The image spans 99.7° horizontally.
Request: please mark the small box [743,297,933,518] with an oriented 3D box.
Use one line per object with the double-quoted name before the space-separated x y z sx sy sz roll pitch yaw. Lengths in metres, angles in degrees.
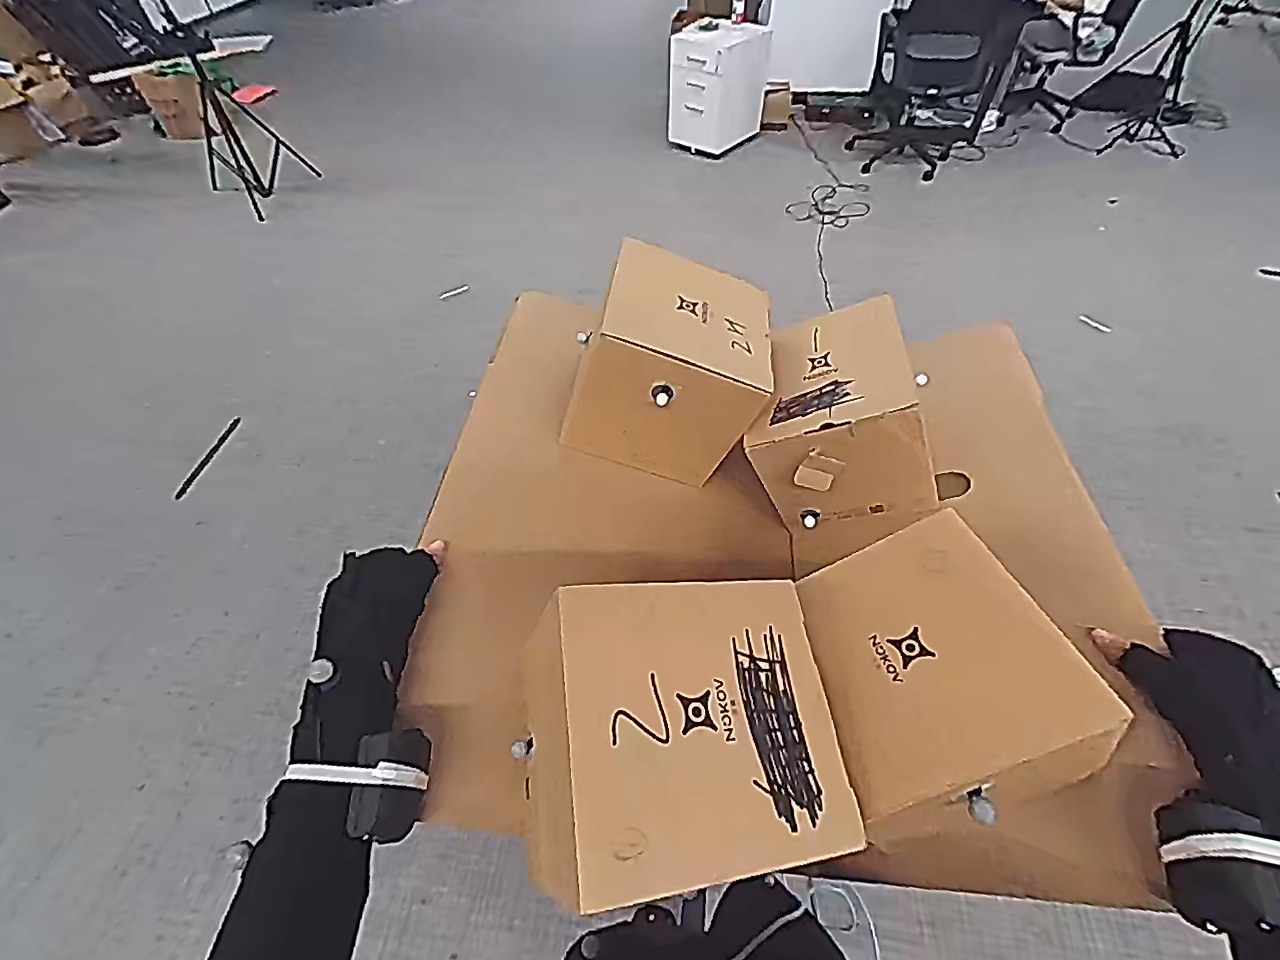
"small box" 0.228 -0.070 0.628 0.168 0.176 0.179 -13 47 27
